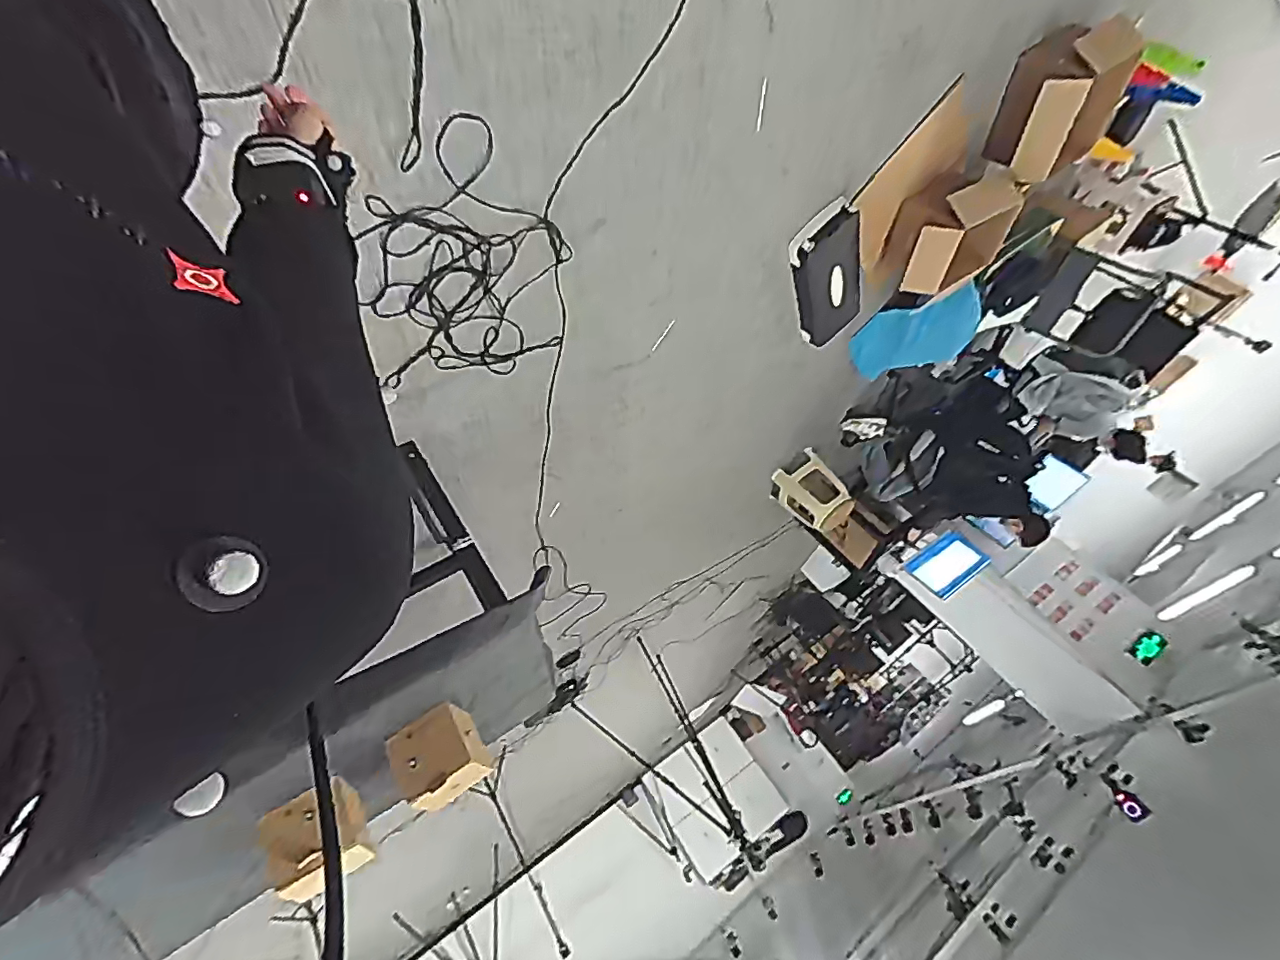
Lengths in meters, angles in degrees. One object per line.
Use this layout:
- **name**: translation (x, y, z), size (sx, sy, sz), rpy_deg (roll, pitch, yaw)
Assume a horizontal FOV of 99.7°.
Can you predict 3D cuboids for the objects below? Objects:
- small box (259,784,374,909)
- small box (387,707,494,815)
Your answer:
- **small box**: translation (-0.735, 0.832, 1.236), size (0.168, 0.176, 0.179), rpy_deg (-24, 146, -27)
- **small box**: translation (-0.491, 0.688, 1.332), size (0.168, 0.176, 0.179), rpy_deg (-31, 150, -15)
